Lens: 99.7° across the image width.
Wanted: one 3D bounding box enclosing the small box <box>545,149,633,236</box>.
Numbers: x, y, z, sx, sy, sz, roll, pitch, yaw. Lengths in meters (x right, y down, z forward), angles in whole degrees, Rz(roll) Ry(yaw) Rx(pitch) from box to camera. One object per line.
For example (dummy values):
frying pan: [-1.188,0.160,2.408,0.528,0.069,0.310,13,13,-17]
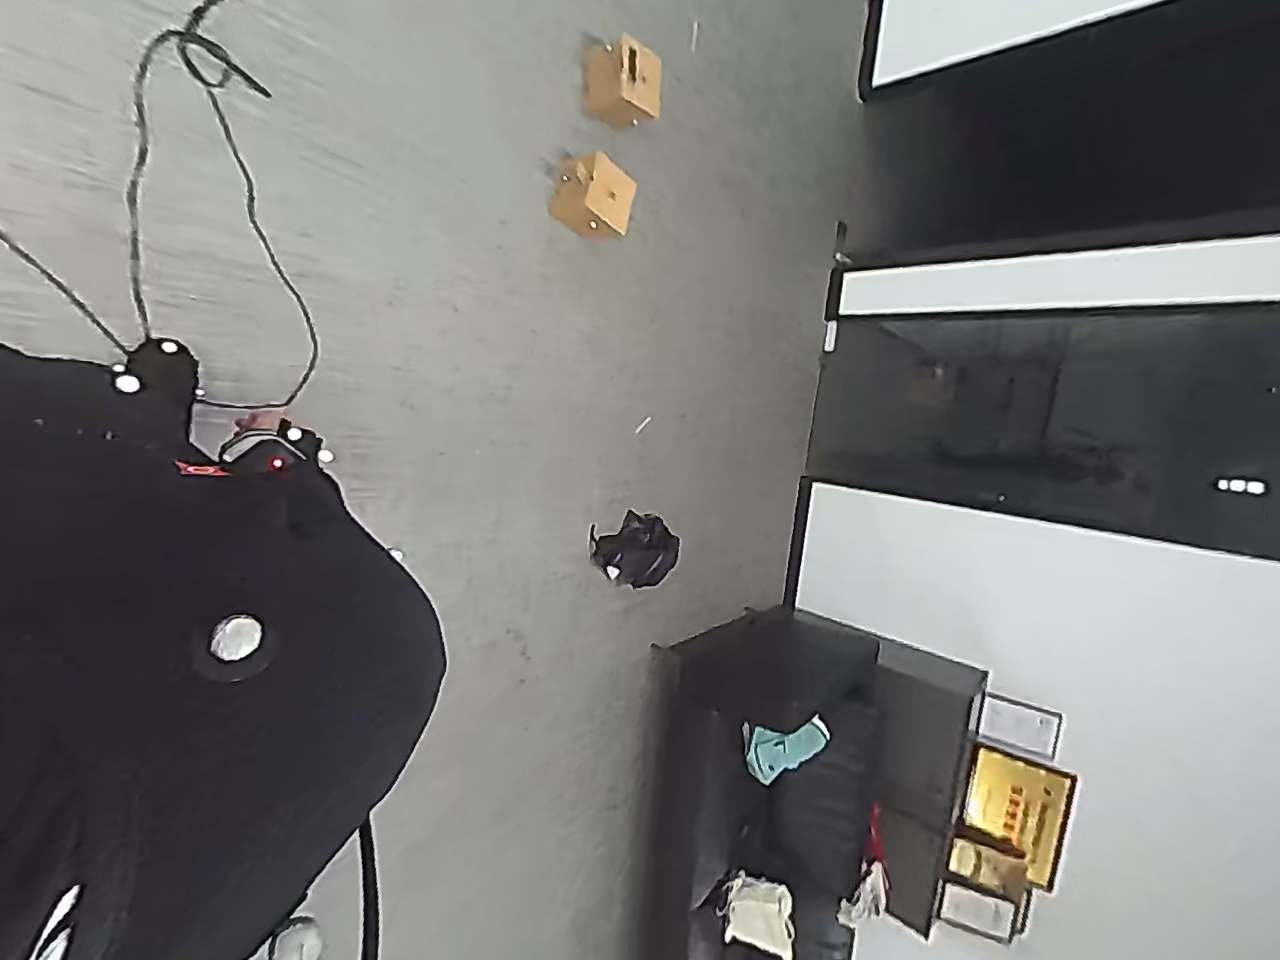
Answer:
small box: [-0.155,-0.860,1.634,0.179,0.176,0.168,14,90,-50]
